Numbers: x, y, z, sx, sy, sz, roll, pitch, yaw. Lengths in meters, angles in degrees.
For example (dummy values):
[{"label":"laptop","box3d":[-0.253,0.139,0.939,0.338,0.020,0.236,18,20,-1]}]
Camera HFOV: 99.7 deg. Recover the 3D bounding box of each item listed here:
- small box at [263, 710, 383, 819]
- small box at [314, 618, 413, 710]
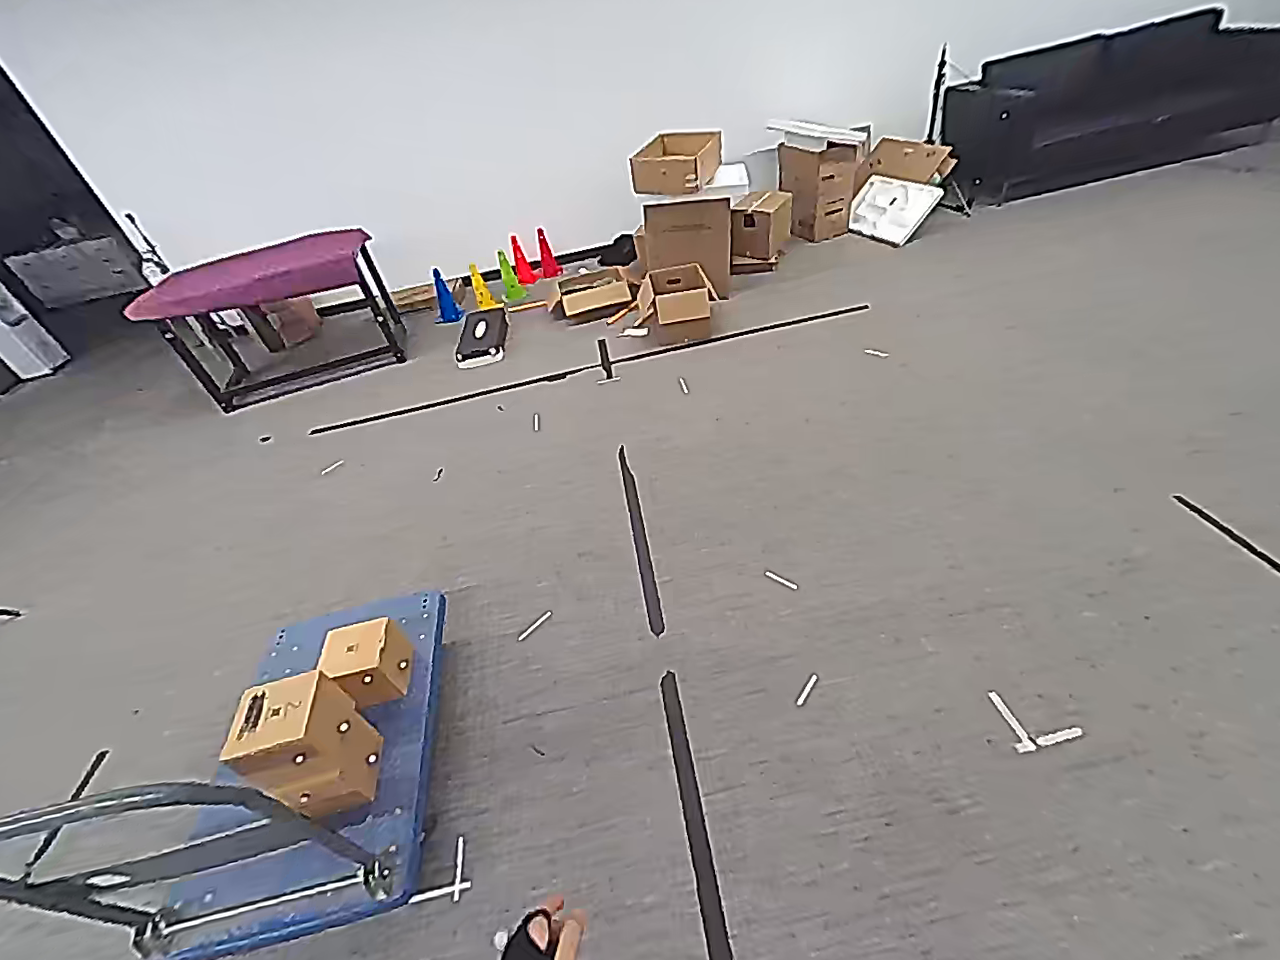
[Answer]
[{"label":"small box","box3d":[-0.765,0.701,1.325,0.179,0.176,0.168,-14,41,-3]},{"label":"small box","box3d":[-0.775,0.525,1.533,0.179,0.176,0.168,-14,40,-2]}]
